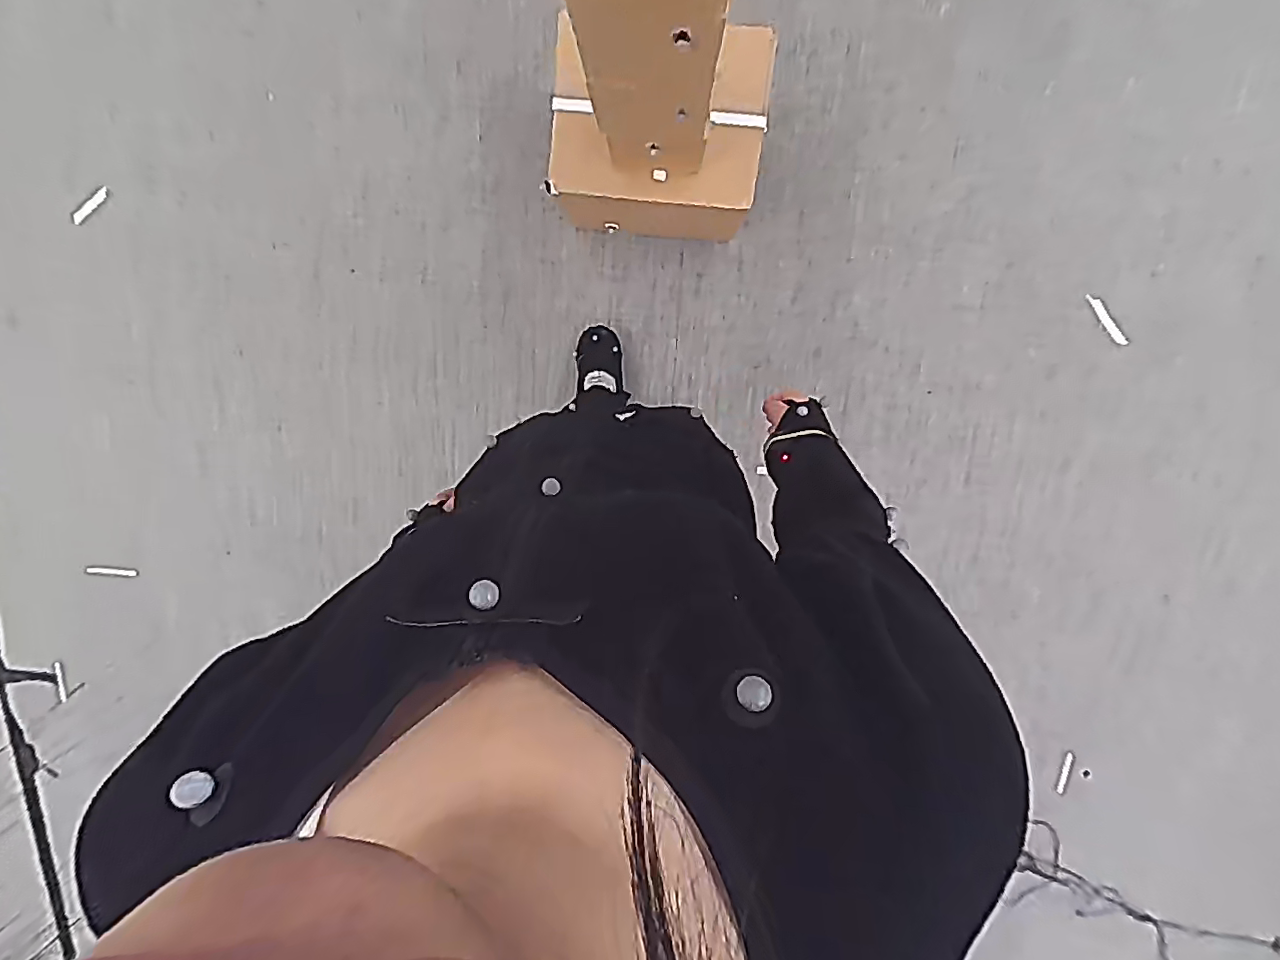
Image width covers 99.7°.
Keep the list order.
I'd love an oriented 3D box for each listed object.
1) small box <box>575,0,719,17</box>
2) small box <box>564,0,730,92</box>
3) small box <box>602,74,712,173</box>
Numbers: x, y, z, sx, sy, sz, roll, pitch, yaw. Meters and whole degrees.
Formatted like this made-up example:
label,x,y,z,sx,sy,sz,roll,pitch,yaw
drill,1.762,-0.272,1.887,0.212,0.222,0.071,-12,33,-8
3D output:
label,x,y,z,sx,sy,sz,roll,pitch,yaw
small box,0.012,-0.554,0.475,0.179,0.176,0.168,8,104,1
small box,0.017,-0.589,0.633,0.179,0.176,0.168,7,103,1
small box,0.030,-0.660,0.954,0.179,0.176,0.168,3,104,0
